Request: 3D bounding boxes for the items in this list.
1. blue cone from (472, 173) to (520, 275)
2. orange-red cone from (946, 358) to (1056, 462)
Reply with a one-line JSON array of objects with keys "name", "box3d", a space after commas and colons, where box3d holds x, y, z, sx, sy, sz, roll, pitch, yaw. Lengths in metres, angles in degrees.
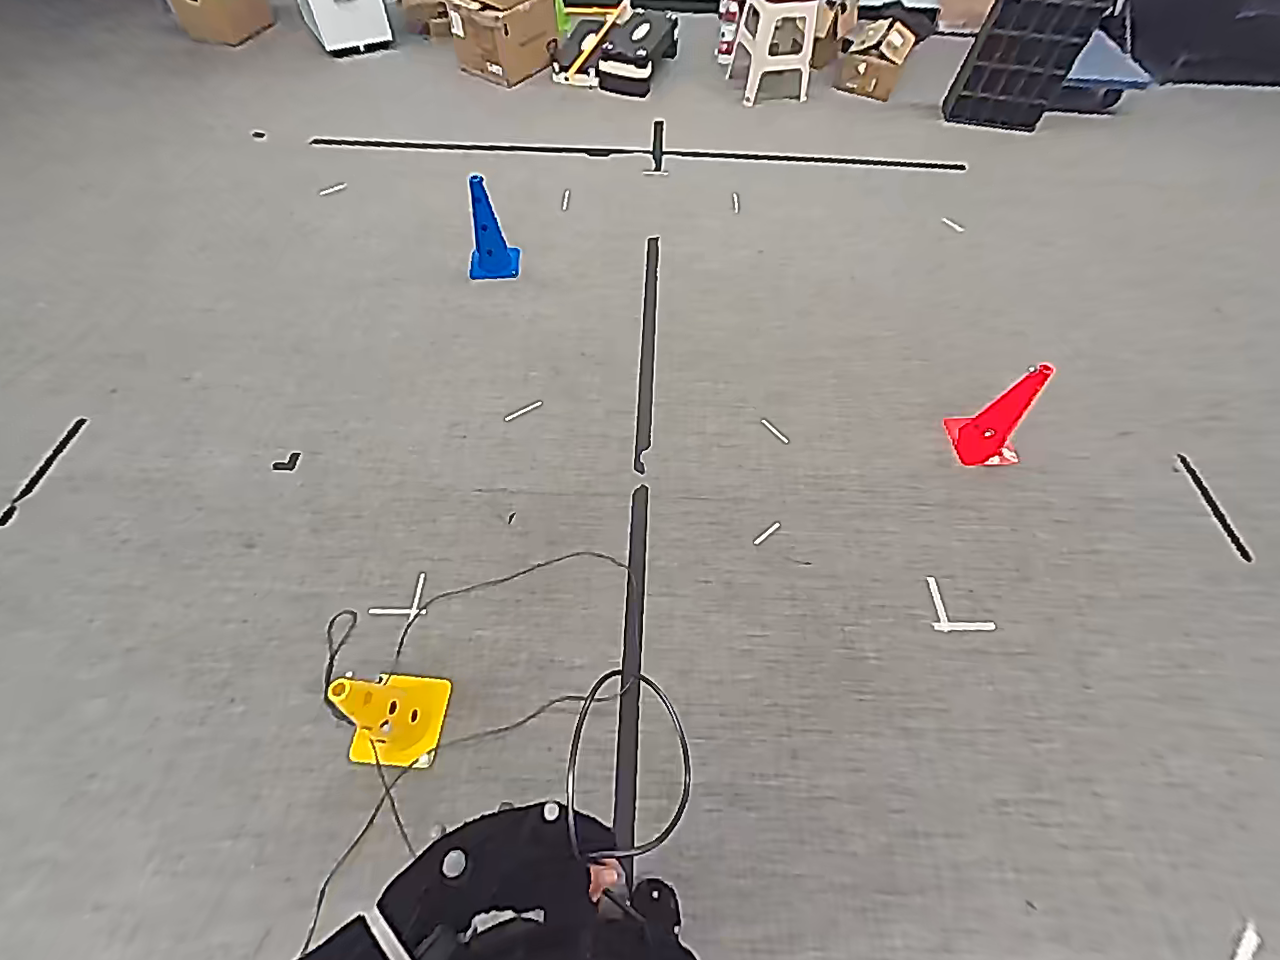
[{"name": "blue cone", "box3d": [-0.594, -1.002, 2.115, 0.192, 0.380, 0.193, -2, 58, -3]}, {"name": "orange-red cone", "box3d": [1.155, -0.238, 1.677, 0.198, 0.360, 0.199, -1, 56, -3]}]
